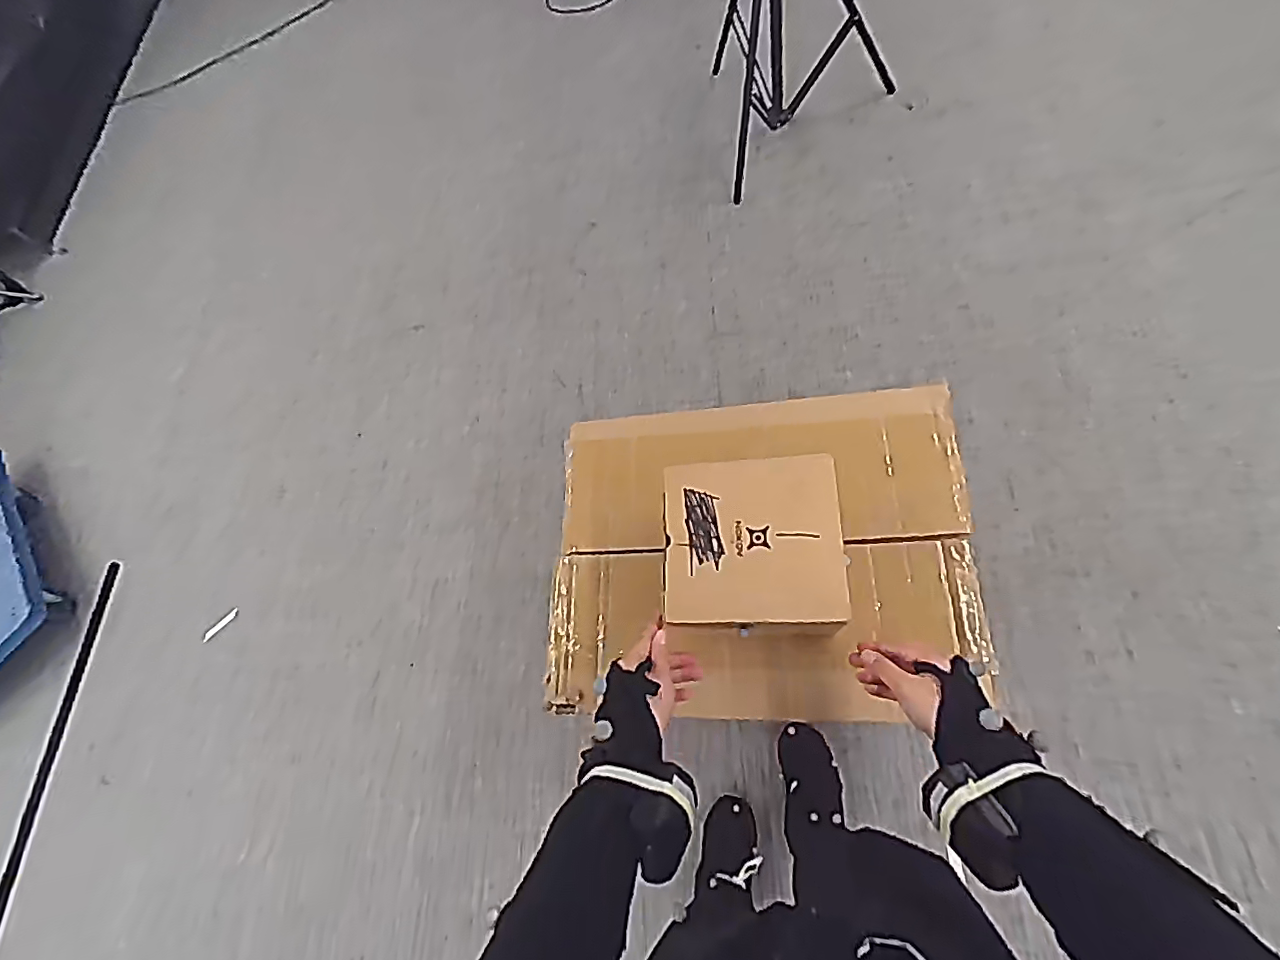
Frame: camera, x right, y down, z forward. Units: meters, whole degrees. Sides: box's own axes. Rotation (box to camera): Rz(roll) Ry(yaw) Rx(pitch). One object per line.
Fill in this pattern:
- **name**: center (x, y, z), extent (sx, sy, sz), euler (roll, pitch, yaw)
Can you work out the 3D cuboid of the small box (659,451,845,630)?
- **small box**: center (0.125, 0.078, 0.606), extent (0.179, 0.176, 0.168), euler (-4, 71, 13)
